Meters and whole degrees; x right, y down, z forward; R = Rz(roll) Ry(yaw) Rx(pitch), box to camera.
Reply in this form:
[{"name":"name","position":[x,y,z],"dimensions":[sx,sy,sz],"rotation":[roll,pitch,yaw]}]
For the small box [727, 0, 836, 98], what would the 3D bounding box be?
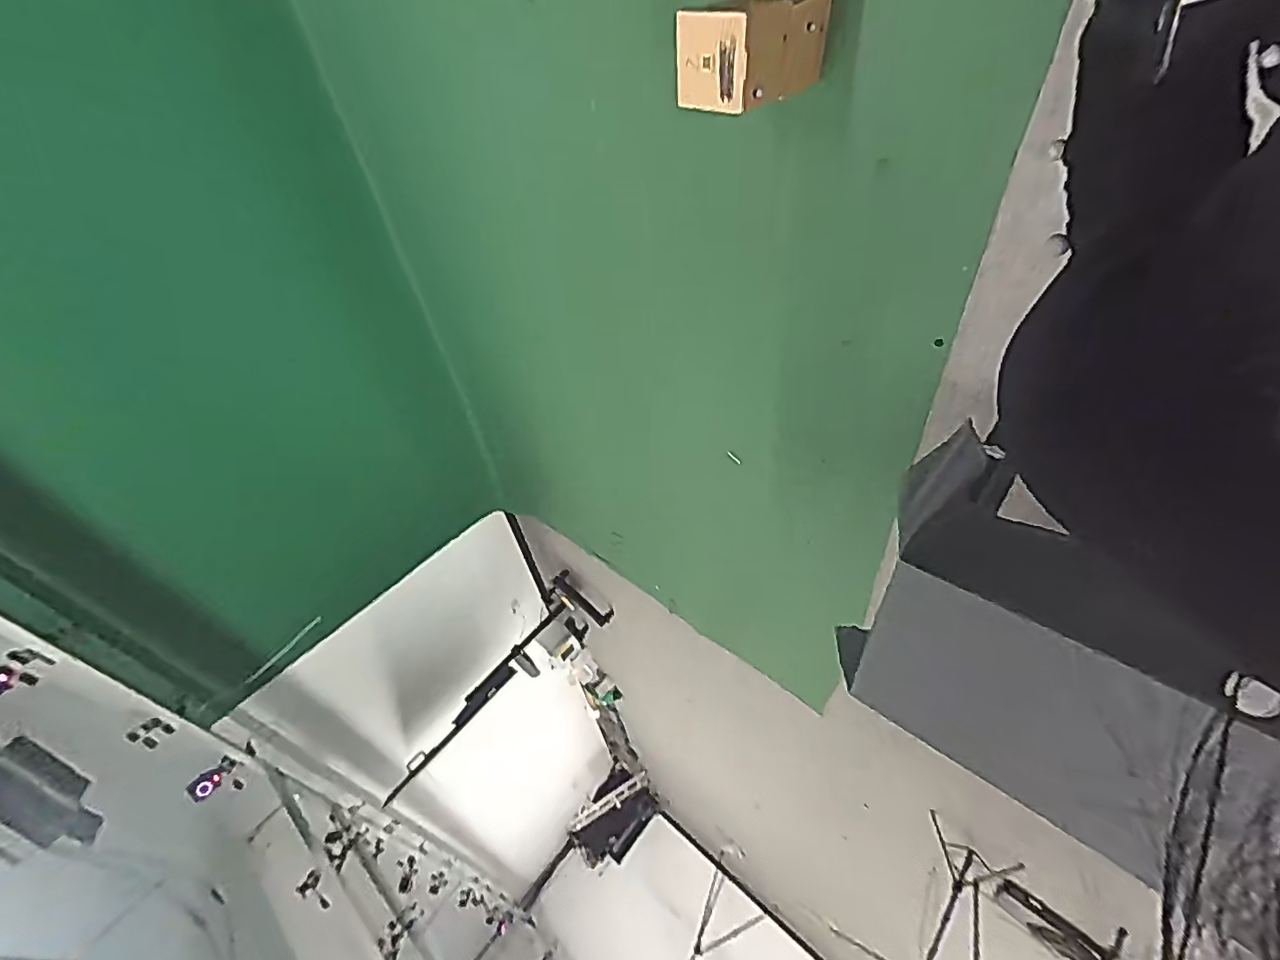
[{"name":"small box","position":[0.323,-1.006,1.243],"dimensions":[0.179,0.176,0.168],"rotation":[31,147,28]}]
